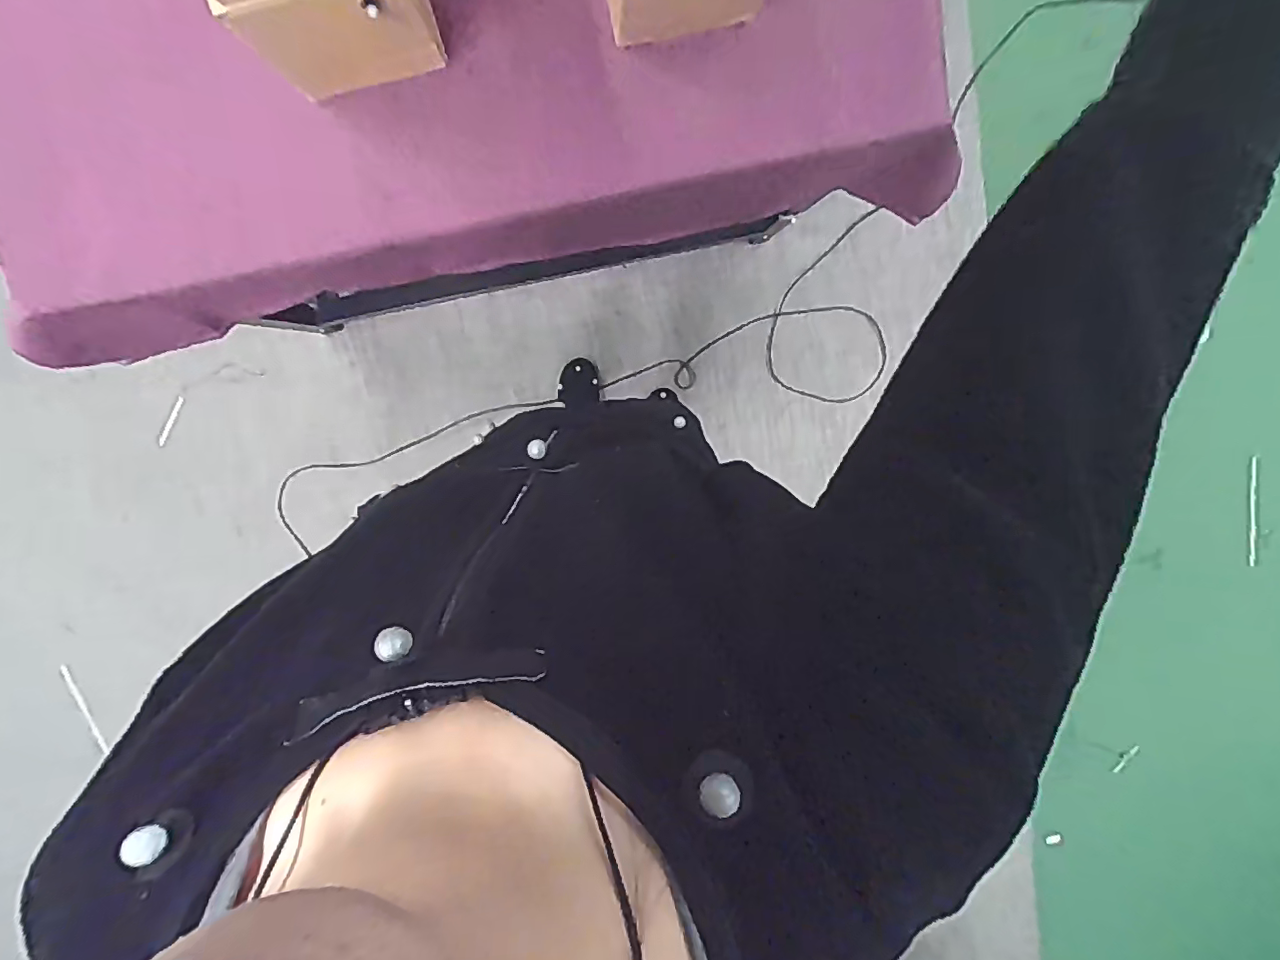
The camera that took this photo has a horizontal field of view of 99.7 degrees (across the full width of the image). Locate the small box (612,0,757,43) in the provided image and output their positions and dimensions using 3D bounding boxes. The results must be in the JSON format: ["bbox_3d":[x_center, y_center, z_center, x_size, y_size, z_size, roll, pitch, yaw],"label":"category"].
[{"bbox_3d":[0.048,-0.608,0.572,0.179,0.176,0.168,-12,103,-2],"label":"small box"}]

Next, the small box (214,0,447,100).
[{"bbox_3d":[-0.329,-0.537,0.562,0.179,0.176,0.168,-17,102,-1],"label":"small box"}]
